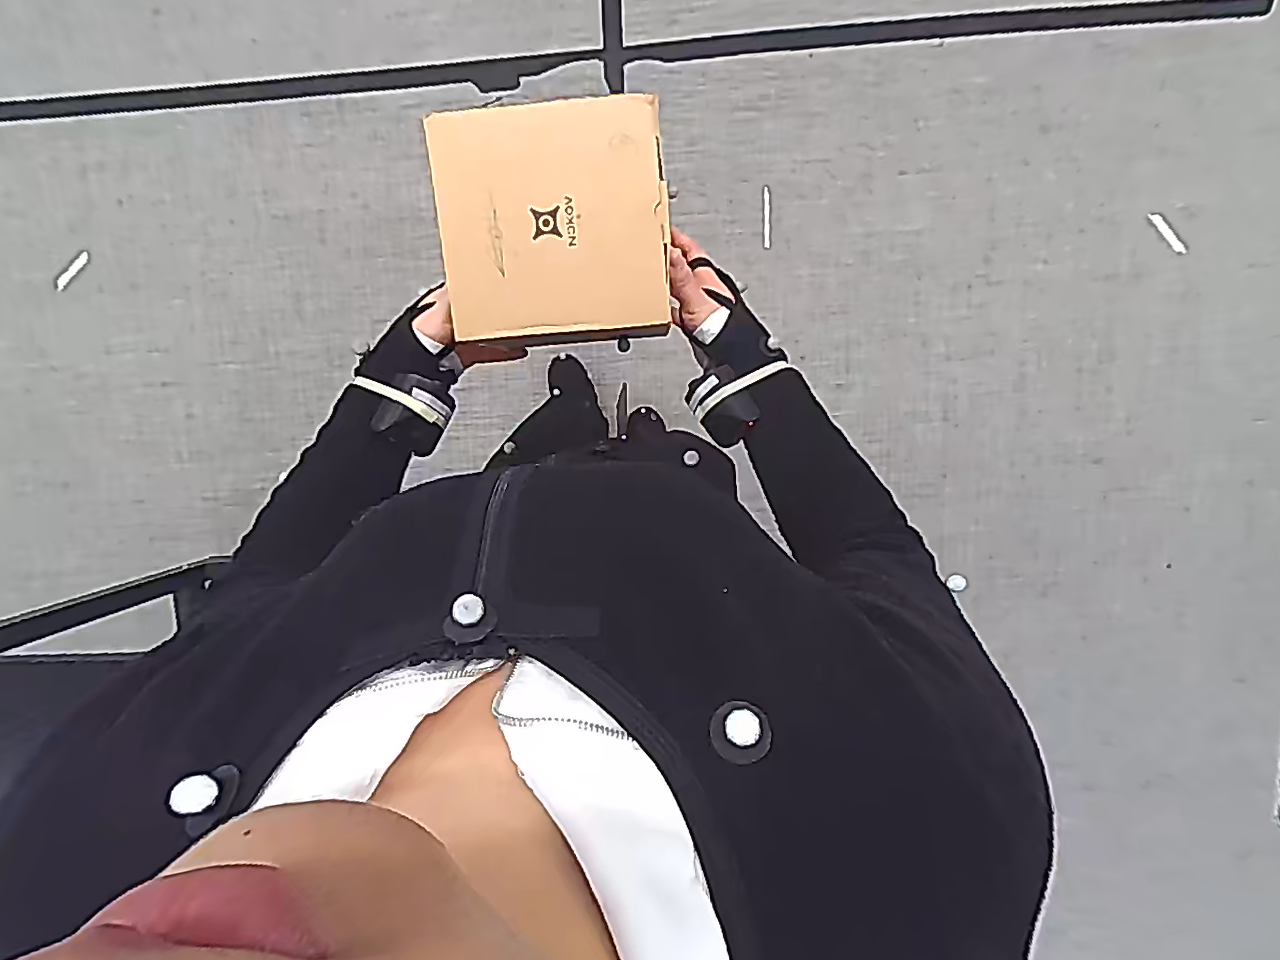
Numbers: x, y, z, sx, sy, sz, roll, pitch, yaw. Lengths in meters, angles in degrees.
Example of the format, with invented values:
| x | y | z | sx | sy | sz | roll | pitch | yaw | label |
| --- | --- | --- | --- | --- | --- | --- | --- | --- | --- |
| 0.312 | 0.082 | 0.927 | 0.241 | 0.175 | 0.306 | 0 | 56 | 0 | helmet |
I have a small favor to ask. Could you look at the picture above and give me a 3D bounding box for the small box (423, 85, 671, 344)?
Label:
| x | y | z | sx | sy | sz | roll | pitch | yaw | label |
| --- | --- | --- | --- | --- | --- | --- | --- | --- | --- |
| -0.066 | -0.217 | 0.490 | 0.179 | 0.176 | 0.168 | -4 | 100 | 4 | small box |
